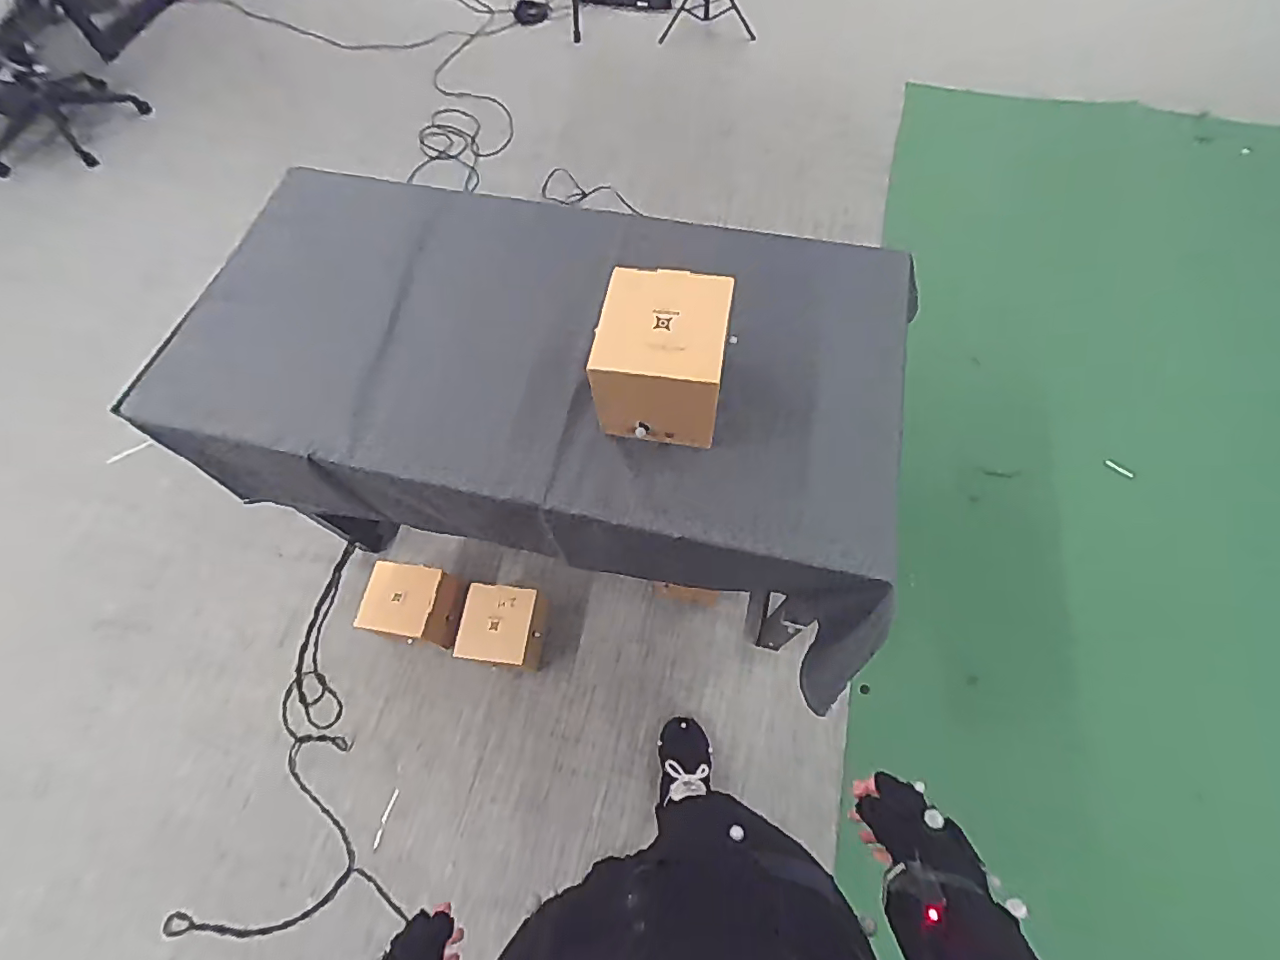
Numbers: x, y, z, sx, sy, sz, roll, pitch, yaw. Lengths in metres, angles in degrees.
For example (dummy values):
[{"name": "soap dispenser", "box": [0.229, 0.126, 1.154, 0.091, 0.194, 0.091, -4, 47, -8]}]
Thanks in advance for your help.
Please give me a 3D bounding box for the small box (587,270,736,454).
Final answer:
[{"name": "small box", "box": [0.033, -0.160, 0.755, 0.168, 0.176, 0.179, 8, 65, 7]}]
